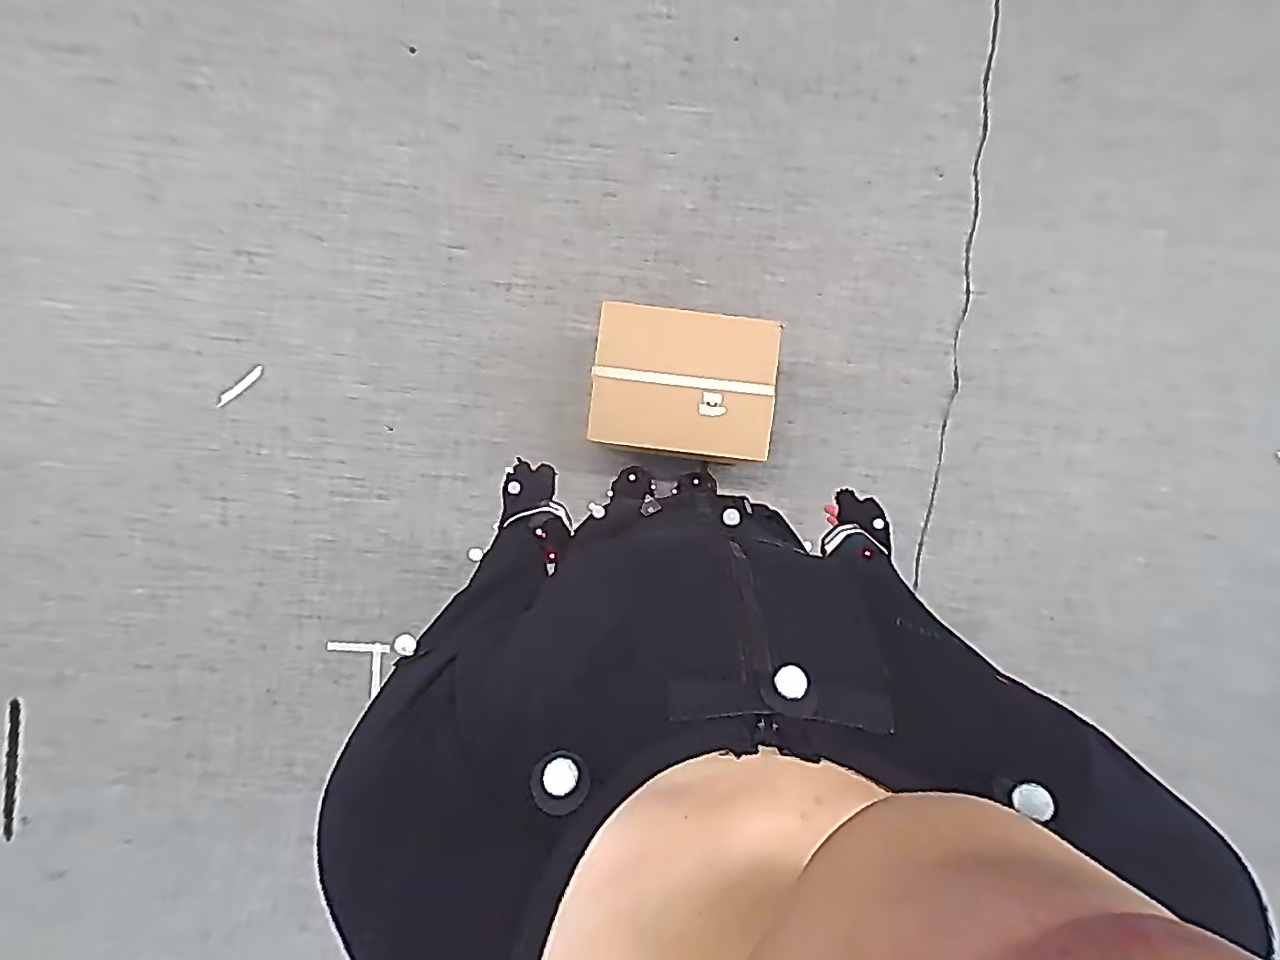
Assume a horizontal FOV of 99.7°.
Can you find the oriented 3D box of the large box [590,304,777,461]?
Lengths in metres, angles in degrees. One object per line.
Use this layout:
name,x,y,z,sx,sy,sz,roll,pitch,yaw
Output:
large box,0.093,-0.223,1.354,0.408,0.320,0.320,6,91,-1
